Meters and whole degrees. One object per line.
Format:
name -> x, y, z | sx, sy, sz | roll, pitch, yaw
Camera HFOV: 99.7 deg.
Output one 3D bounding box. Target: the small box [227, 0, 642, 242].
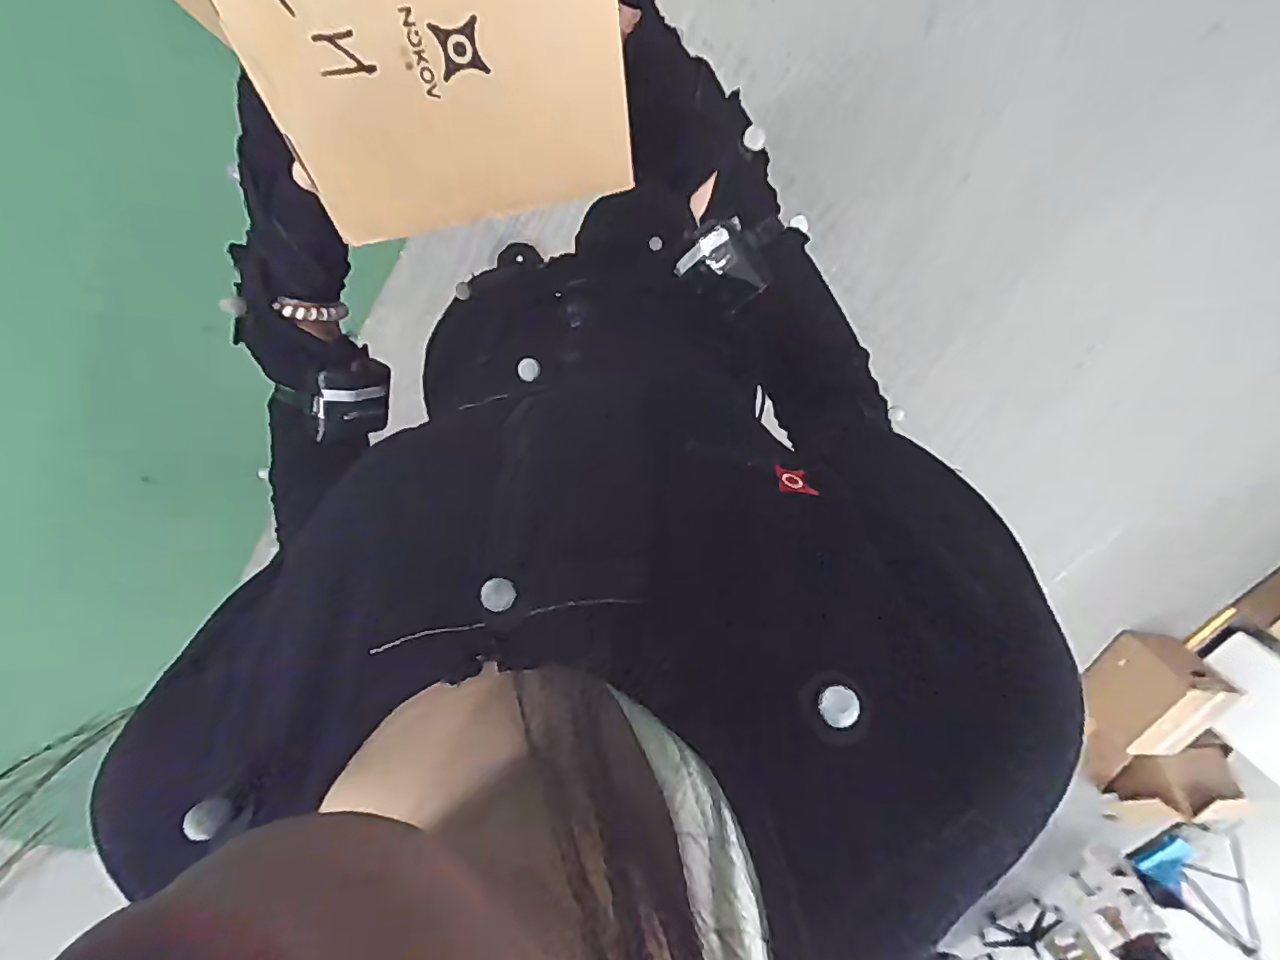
small box -> -0.107, -0.267, 0.300 | 0.179, 0.176, 0.168 | -14, 144, -5
